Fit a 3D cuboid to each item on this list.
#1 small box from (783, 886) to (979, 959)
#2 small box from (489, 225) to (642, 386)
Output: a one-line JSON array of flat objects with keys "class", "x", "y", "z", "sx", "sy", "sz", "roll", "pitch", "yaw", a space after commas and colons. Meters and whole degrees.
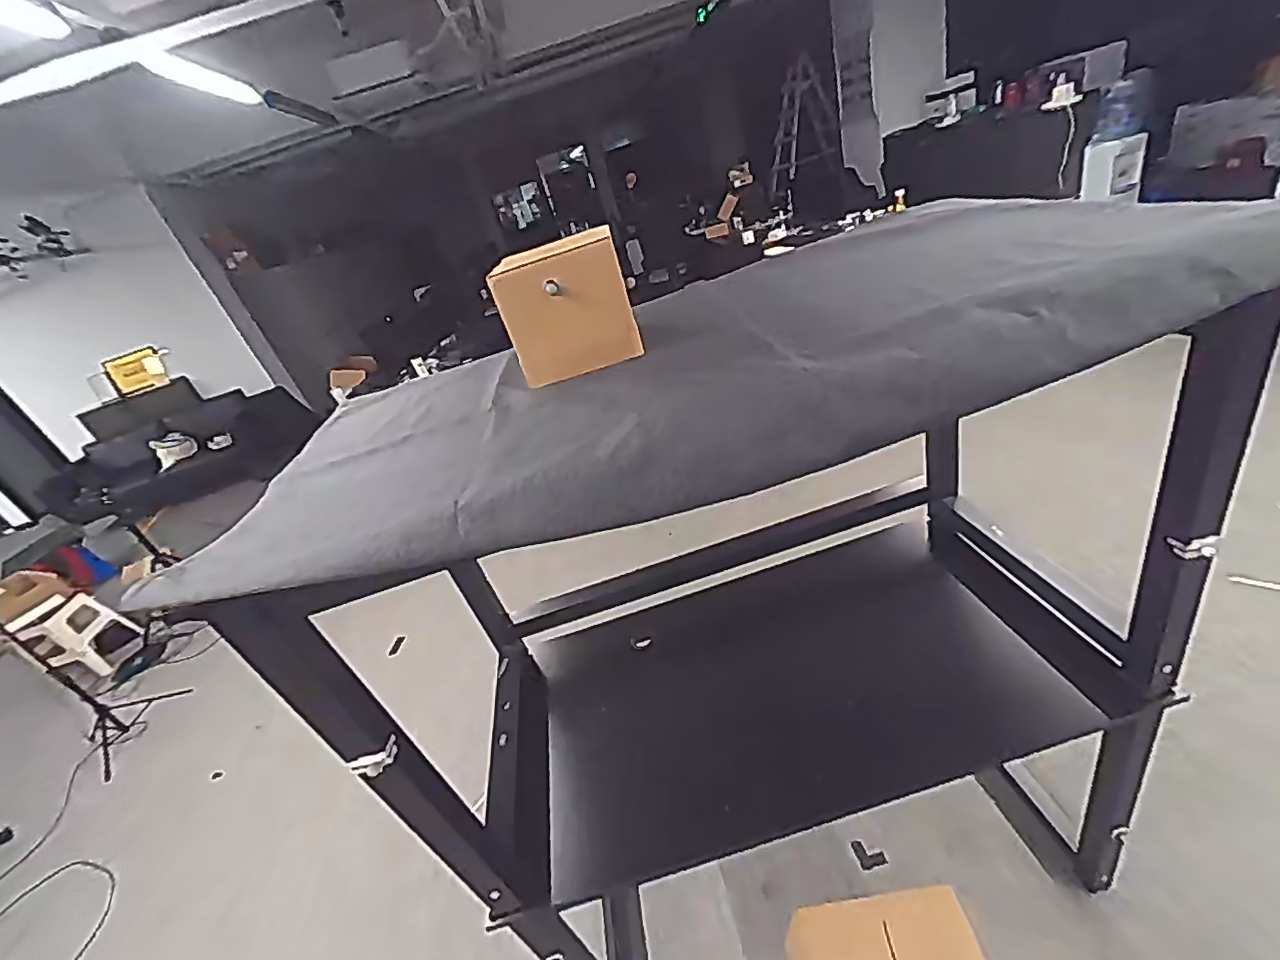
[{"class": "small box", "x": 0.249, "y": 0.541, "z": 0.536, "sx": 0.168, "sy": 0.176, "sz": 0.179, "roll": -8, "pitch": 39, "yaw": -1}, {"class": "small box", "x": -0.099, "y": -0.263, "z": 0.812, "sx": 0.179, "sy": 0.176, "sz": 0.168, "roll": -16, "pitch": 30, "yaw": 5}]
